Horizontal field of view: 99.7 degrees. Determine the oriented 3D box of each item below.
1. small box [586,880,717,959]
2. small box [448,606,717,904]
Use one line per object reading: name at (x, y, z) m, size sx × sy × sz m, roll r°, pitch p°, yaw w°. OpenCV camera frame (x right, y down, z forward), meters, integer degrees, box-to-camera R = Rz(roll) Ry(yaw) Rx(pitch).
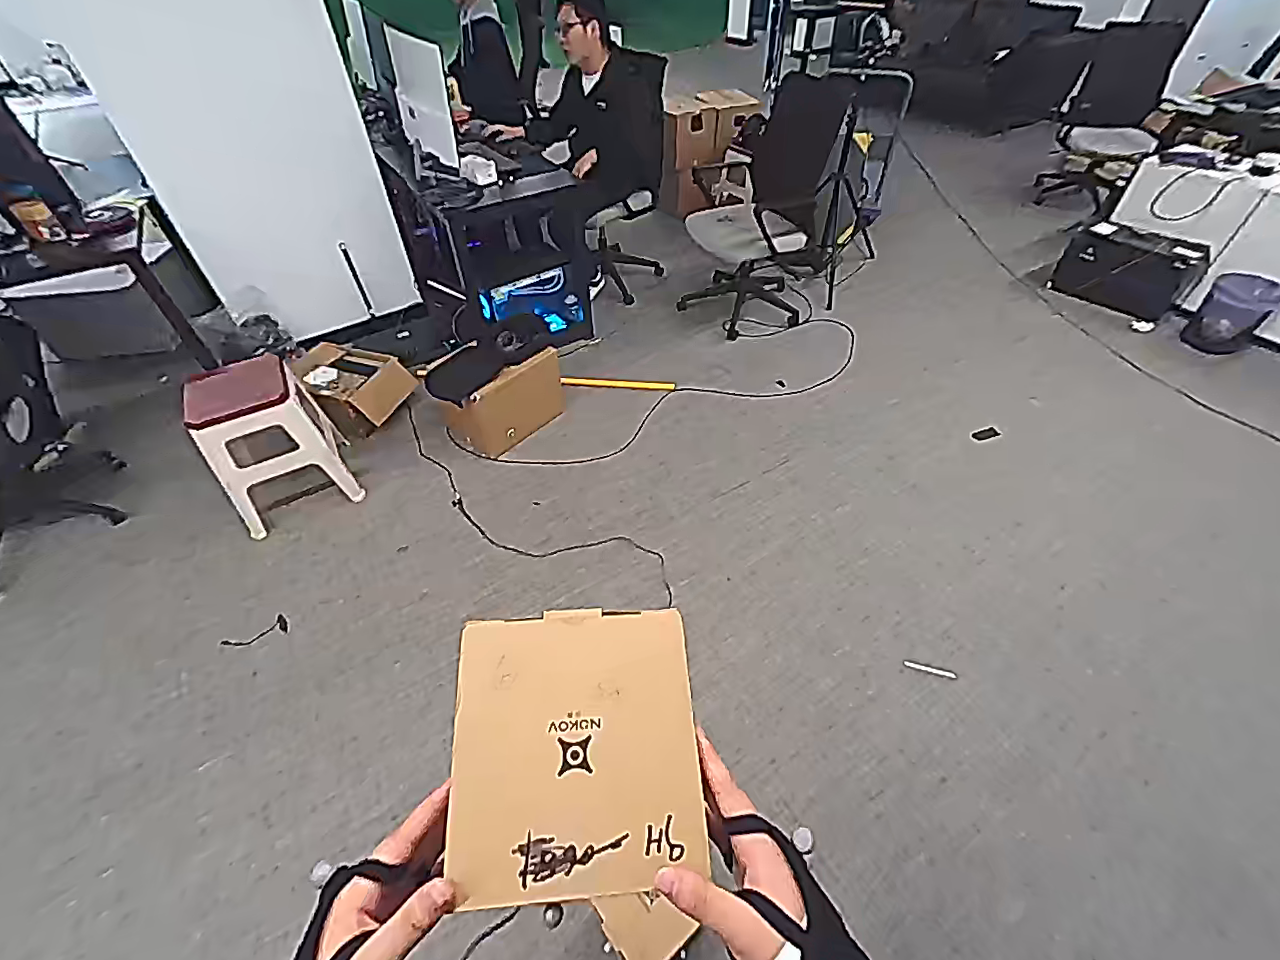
small box at (0.020, 0.777, 0.998) m, size 0.179 × 0.176 × 0.168 m, roll -30°, pitch 54°, yaw -26°
small box at (-0.044, 0.216, 0.437) m, size 0.168 × 0.176 × 0.179 m, roll -3°, pitch 60°, yaw -4°
